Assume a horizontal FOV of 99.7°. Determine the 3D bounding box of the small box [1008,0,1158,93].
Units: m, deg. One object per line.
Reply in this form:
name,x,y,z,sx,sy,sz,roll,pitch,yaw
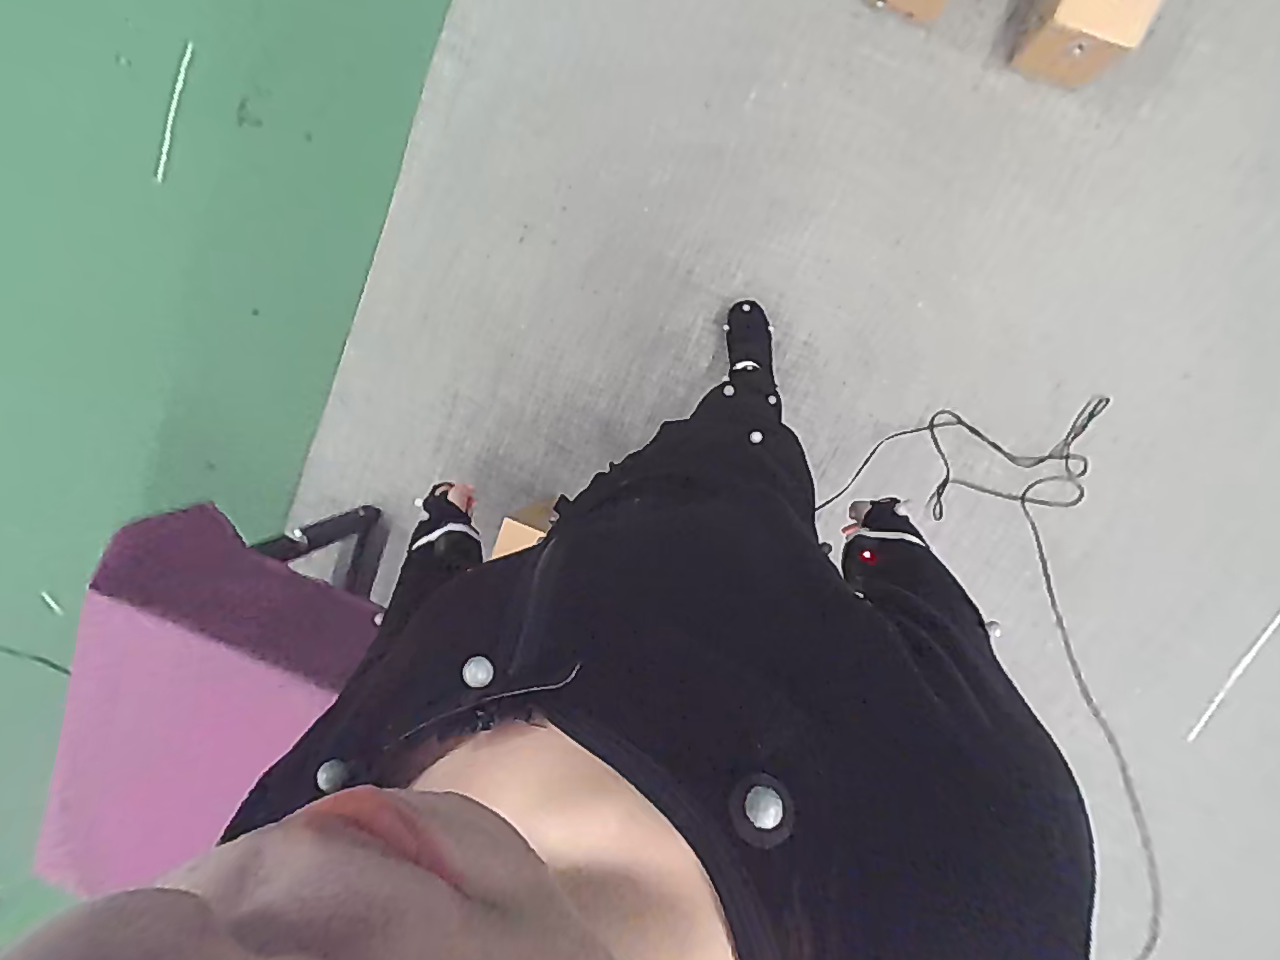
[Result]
small box,0.927,-0.957,1.132,0.179,0.176,0.168,22,102,2
